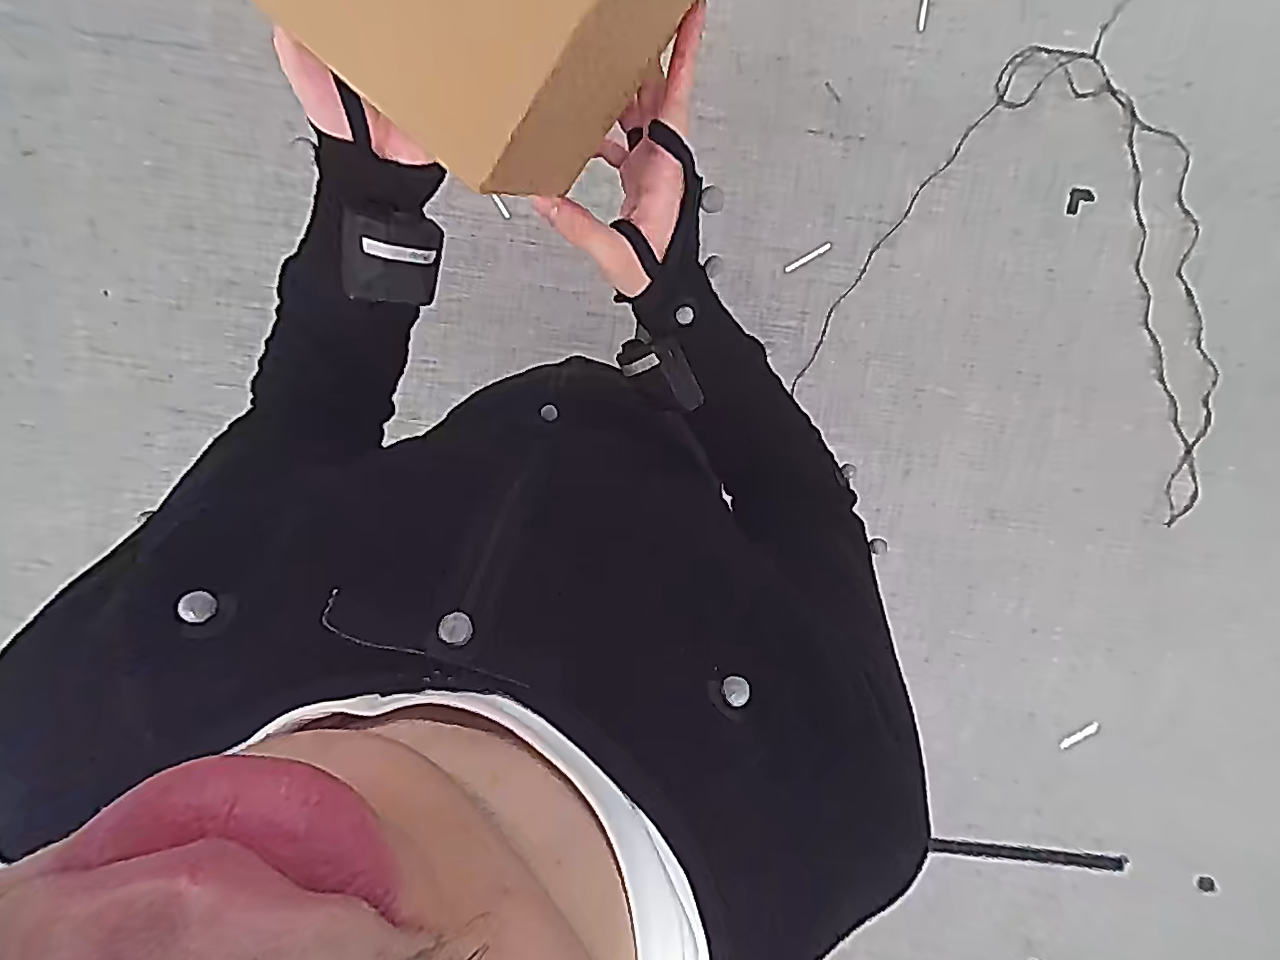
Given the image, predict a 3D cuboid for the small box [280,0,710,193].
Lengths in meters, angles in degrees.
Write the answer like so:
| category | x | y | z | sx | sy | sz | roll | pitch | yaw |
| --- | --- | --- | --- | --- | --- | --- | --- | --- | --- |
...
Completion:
| category | x | y | z | sx | sy | sz | roll | pitch | yaw |
| --- | --- | --- | --- | --- | --- | --- | --- | --- | --- |
| small box | -0.054 | -0.247 | 0.217 | 0.168 | 0.176 | 0.179 | 38 | 113 | -14 |
